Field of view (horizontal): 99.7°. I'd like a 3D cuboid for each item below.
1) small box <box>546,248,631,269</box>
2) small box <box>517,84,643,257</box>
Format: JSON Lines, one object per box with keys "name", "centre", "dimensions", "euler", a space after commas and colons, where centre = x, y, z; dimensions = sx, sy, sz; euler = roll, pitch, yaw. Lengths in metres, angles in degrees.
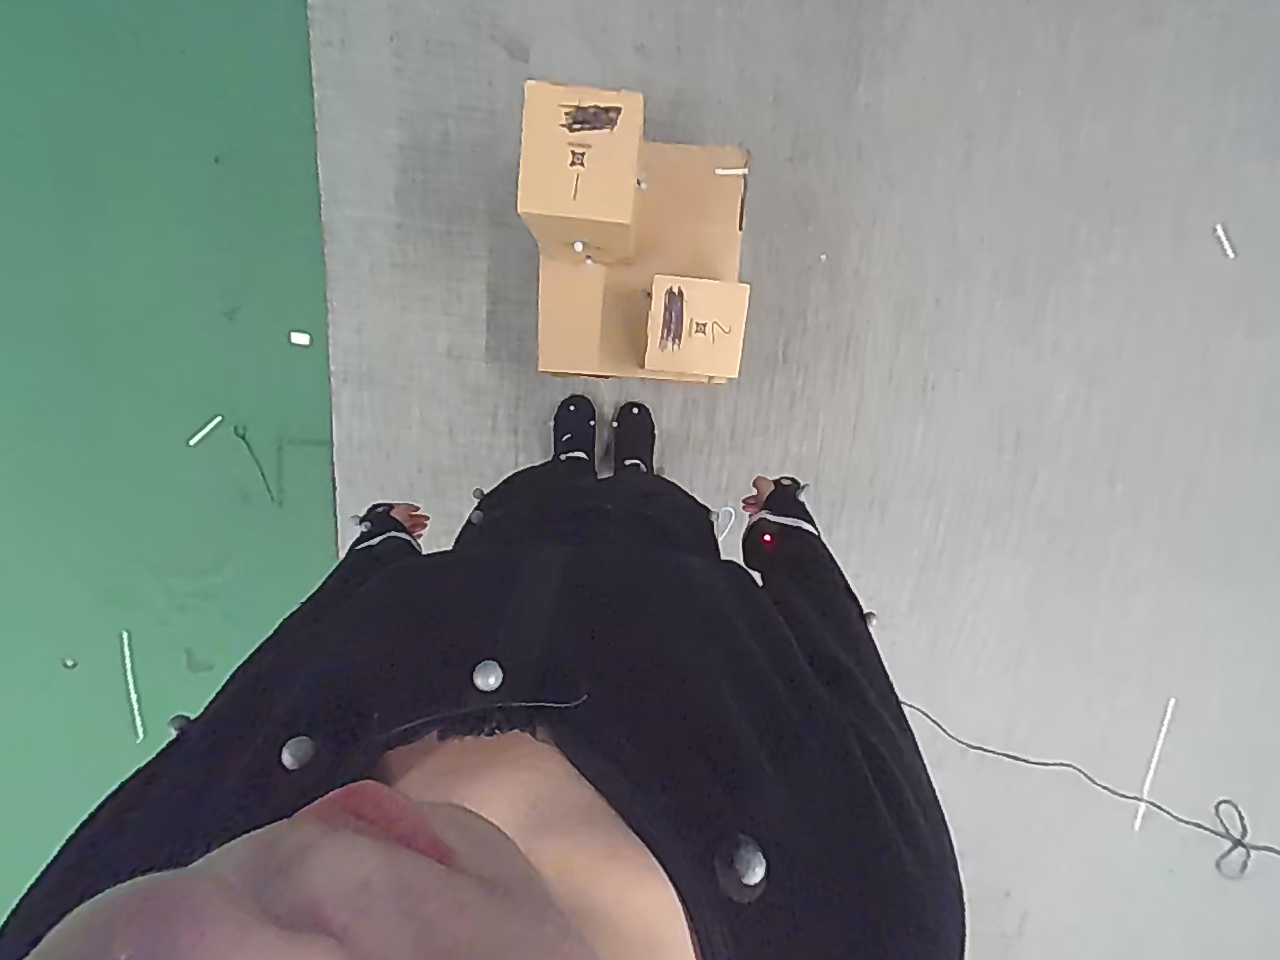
{"name": "small box", "centre": [-0.096, -0.508, 1.002], "dimensions": [0.168, 0.176, 0.179], "euler": [4, 99, -1]}
{"name": "small box", "centre": [-0.088, -0.468, 0.842], "dimensions": [0.168, 0.176, 0.179], "euler": [6, 99, -1]}
